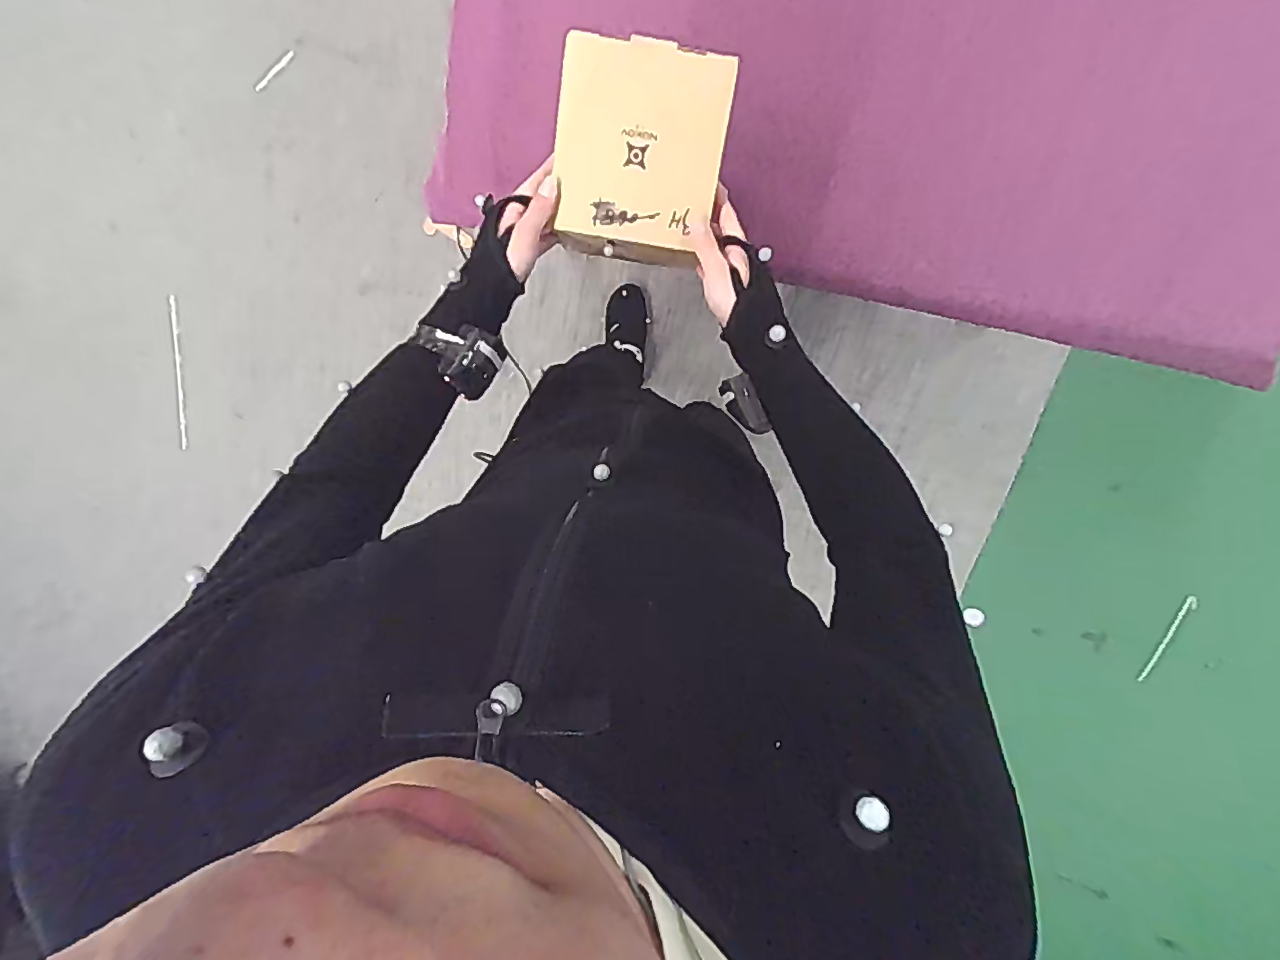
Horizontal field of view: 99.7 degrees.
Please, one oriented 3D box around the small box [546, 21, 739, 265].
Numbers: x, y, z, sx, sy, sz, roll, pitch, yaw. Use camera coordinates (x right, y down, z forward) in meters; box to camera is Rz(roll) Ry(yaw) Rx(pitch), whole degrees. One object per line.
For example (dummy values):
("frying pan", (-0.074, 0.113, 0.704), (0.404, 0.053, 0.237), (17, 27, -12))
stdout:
("small box", (0.002, -0.353, 0.604), (0.168, 0.176, 0.179), (10, 106, 1))
